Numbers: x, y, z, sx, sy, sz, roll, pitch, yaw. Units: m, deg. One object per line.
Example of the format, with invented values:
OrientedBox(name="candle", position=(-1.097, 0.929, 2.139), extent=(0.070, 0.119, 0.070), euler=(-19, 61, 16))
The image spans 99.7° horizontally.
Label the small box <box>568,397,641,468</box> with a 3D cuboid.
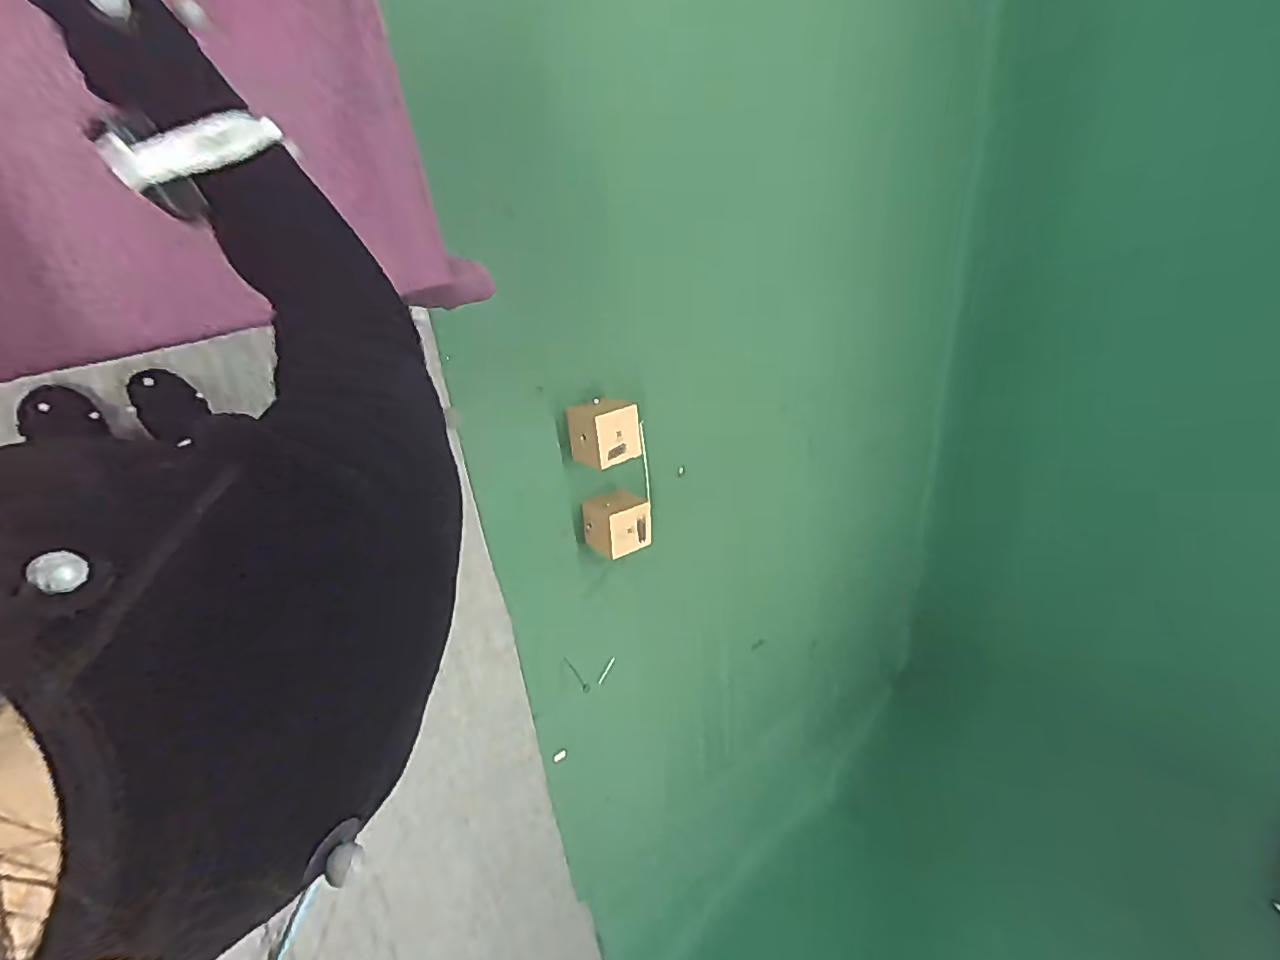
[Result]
OrientedBox(name="small box", position=(-0.116, -0.160, 1.752), extent=(0.168, 0.176, 0.179), euler=(-22, 117, -34))
